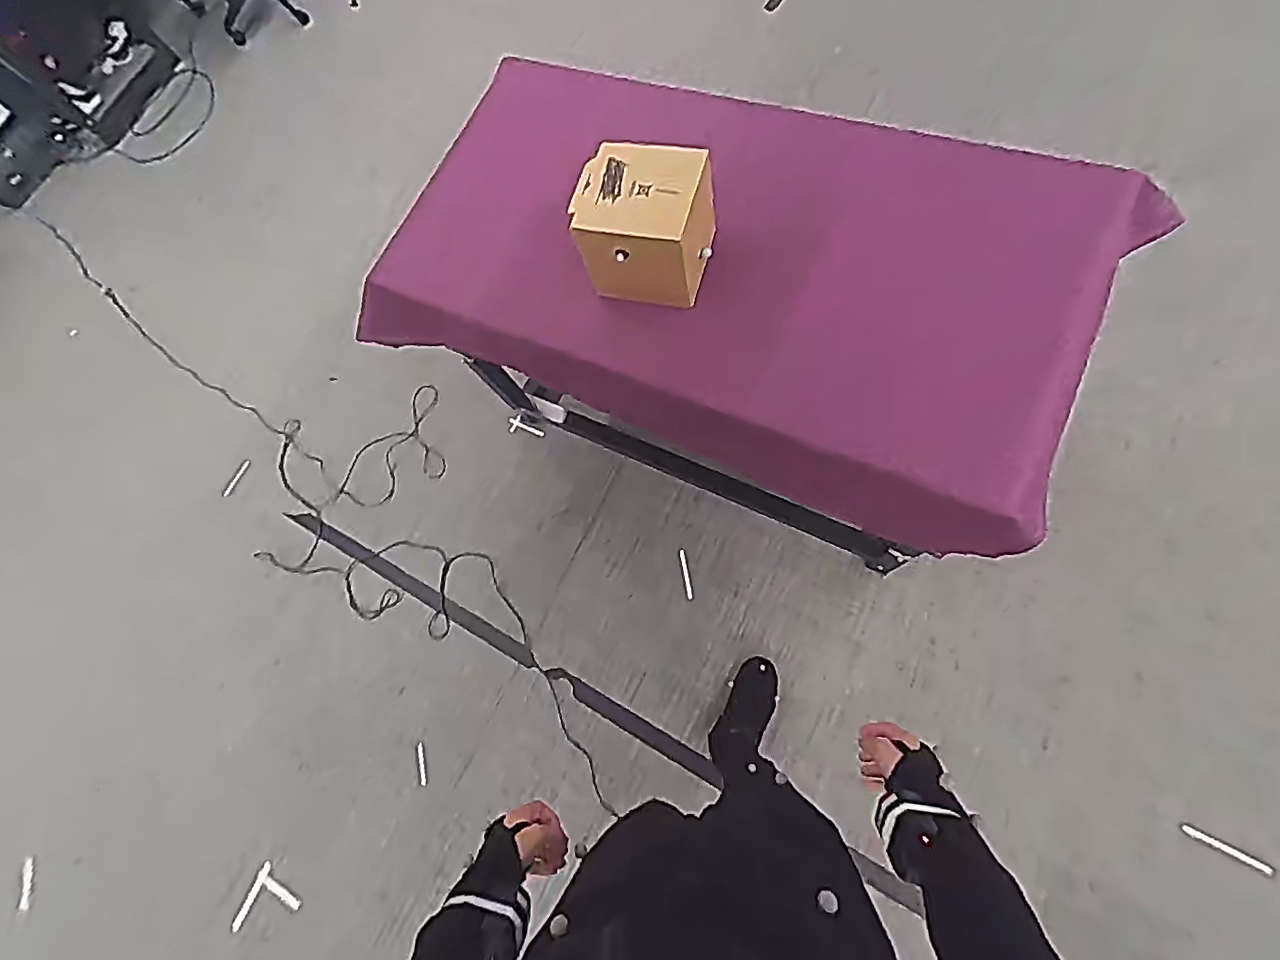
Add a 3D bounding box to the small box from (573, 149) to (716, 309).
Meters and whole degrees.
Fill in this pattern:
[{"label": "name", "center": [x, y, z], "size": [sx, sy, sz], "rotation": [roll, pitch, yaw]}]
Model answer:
[{"label": "small box", "center": [0.018, -0.401, 0.882], "size": [0.179, 0.176, 0.168], "rotation": [14, 76, 14]}]
